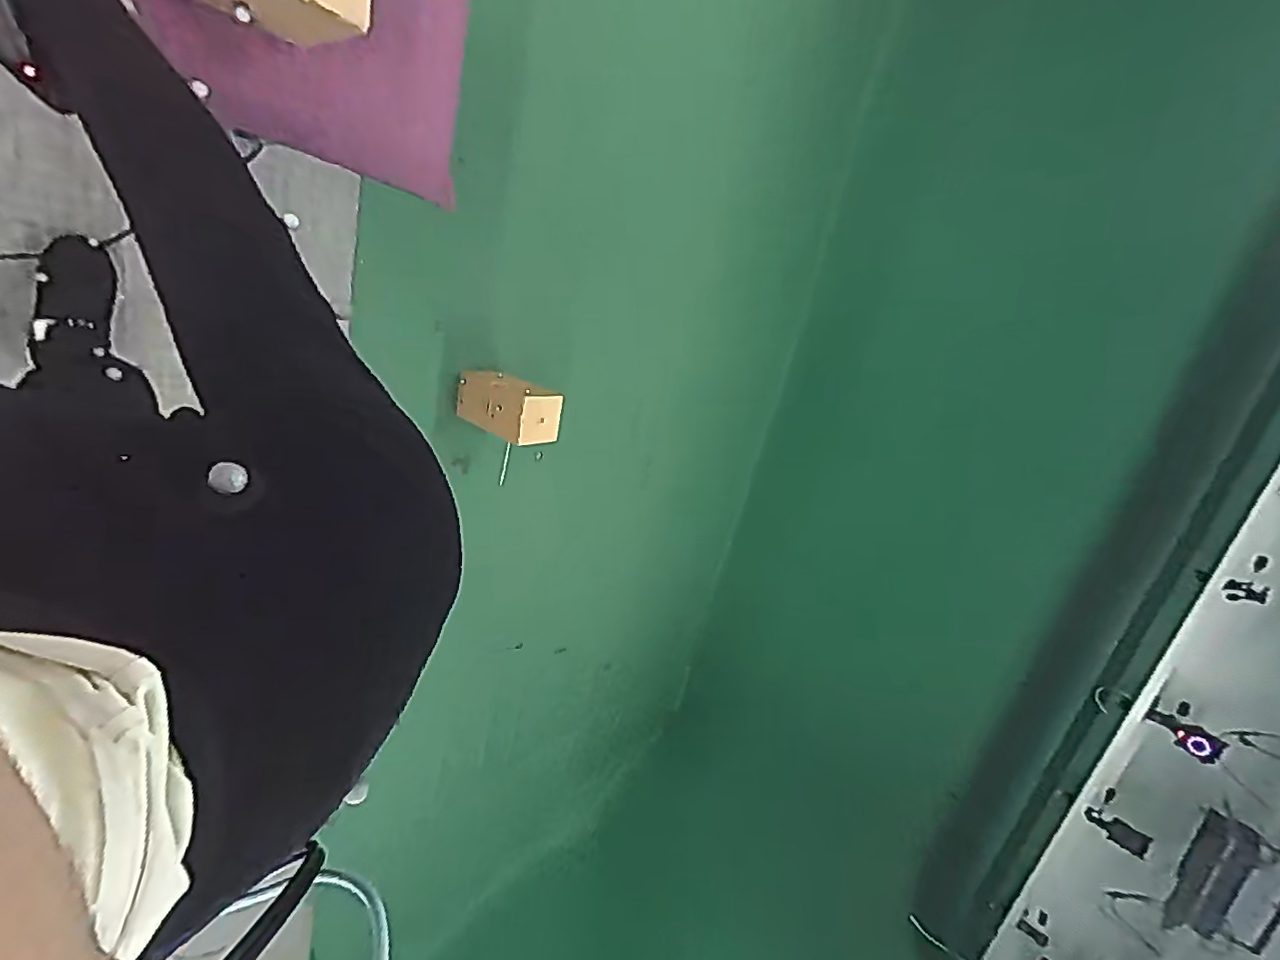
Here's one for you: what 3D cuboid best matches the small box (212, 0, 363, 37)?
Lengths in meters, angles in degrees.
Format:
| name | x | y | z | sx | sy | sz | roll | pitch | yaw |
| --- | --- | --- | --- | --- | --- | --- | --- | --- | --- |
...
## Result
| name | x | y | z | sx | sy | sz | roll | pitch | yaw |
| --- | --- | --- | --- | --- | --- | --- | --- | --- | --- |
| small box | -0.396 | -0.592 | 0.542 | 0.168 | 0.176 | 0.179 | -10 | 118 | -52 |

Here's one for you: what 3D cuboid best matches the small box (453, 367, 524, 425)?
| name | x | y | z | sx | sy | sz | roll | pitch | yaw |
| --- | --- | --- | --- | --- | --- | --- | --- | --- | --- |
| small box | -0.540 | -0.301 | 1.915 | 0.179 | 0.176 | 0.168 | -13 | 122 | -53 |

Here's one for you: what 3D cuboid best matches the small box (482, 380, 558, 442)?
| name | x | y | z | sx | sy | sz | roll | pitch | yaw |
| --- | --- | --- | --- | --- | --- | --- | --- | --- | --- |
| small box | -0.410 | -0.241 | 1.837 | 0.179 | 0.176 | 0.168 | -14 | 122 | -51 |
